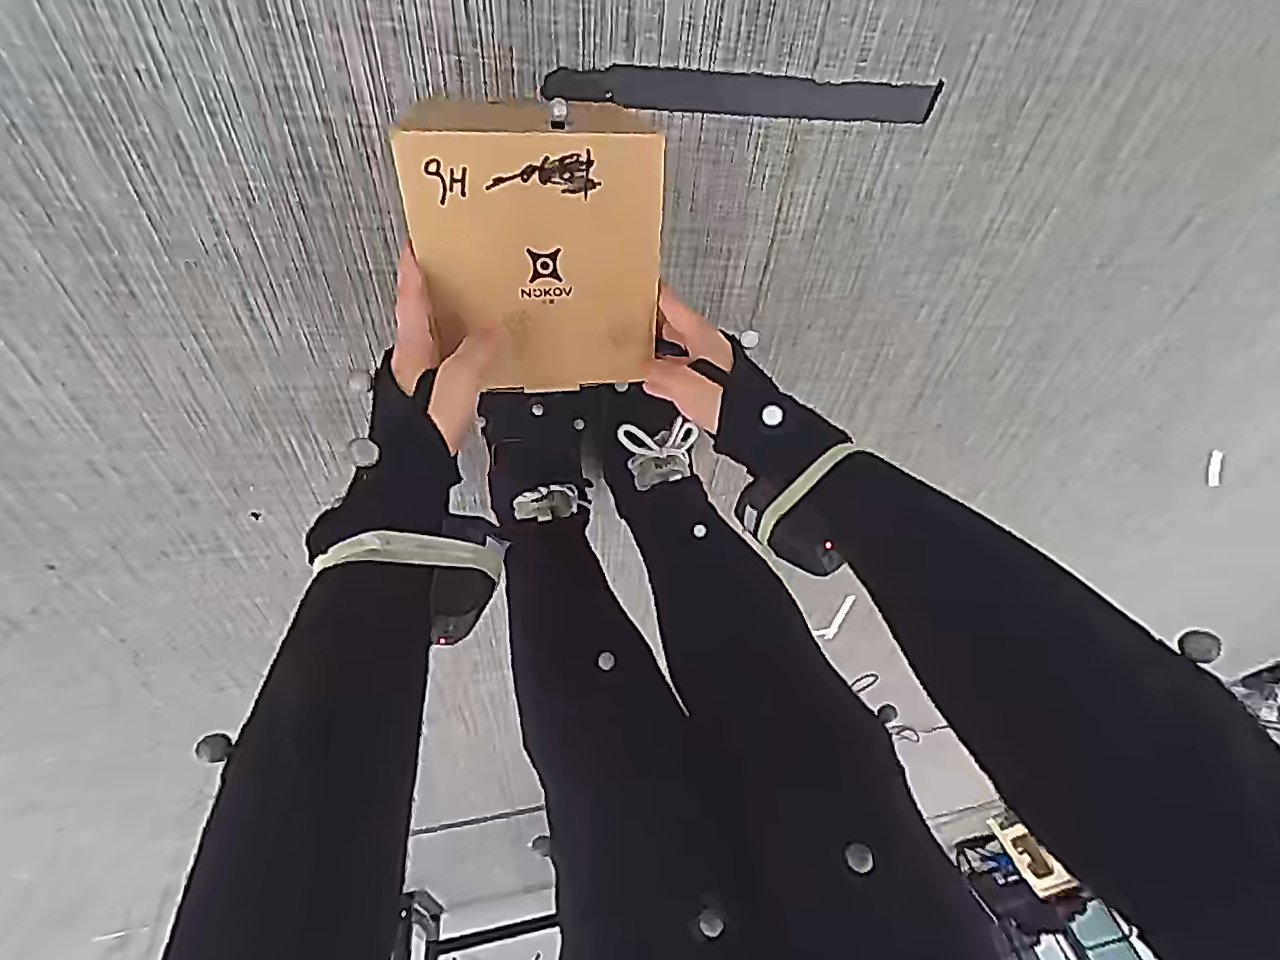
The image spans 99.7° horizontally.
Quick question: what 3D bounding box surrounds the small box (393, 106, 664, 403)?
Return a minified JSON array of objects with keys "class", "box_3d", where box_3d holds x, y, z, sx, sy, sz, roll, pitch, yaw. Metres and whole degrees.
[{"class":"small box","box_3d":[-0.084,-0.184,0.440,0.168,0.176,0.179,-6,132,-11]}]
